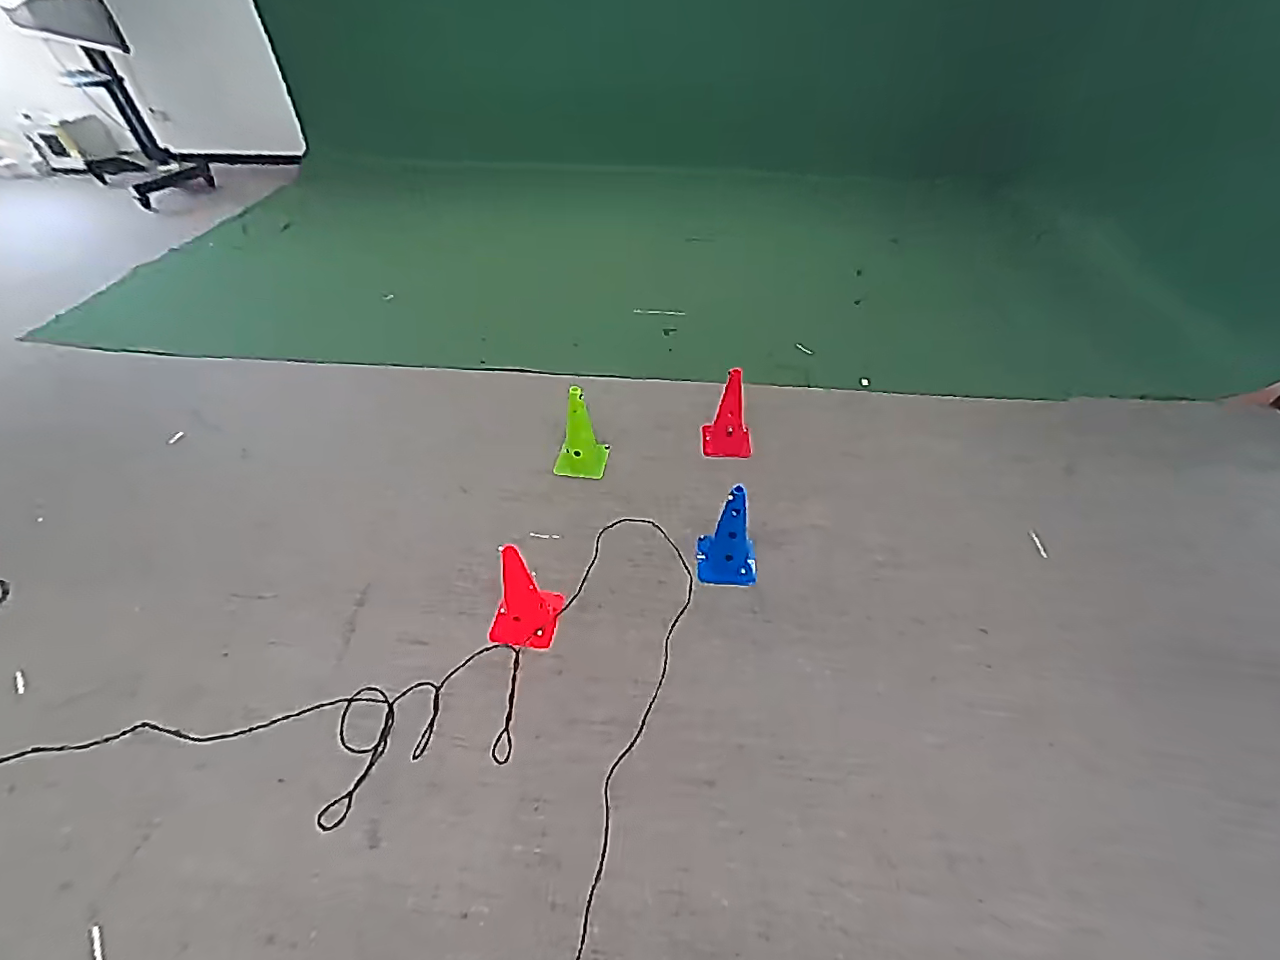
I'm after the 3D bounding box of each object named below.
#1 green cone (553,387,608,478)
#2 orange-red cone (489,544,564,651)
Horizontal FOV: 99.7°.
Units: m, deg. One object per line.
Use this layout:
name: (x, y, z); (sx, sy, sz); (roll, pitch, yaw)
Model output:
green cone: (-0.244, -0.204, 2.090); (0.200, 0.368, 0.202); (5, 46, 6)
orange-red cone: (-0.353, 0.312, 1.583); (0.198, 0.360, 0.199); (8, 44, 6)
